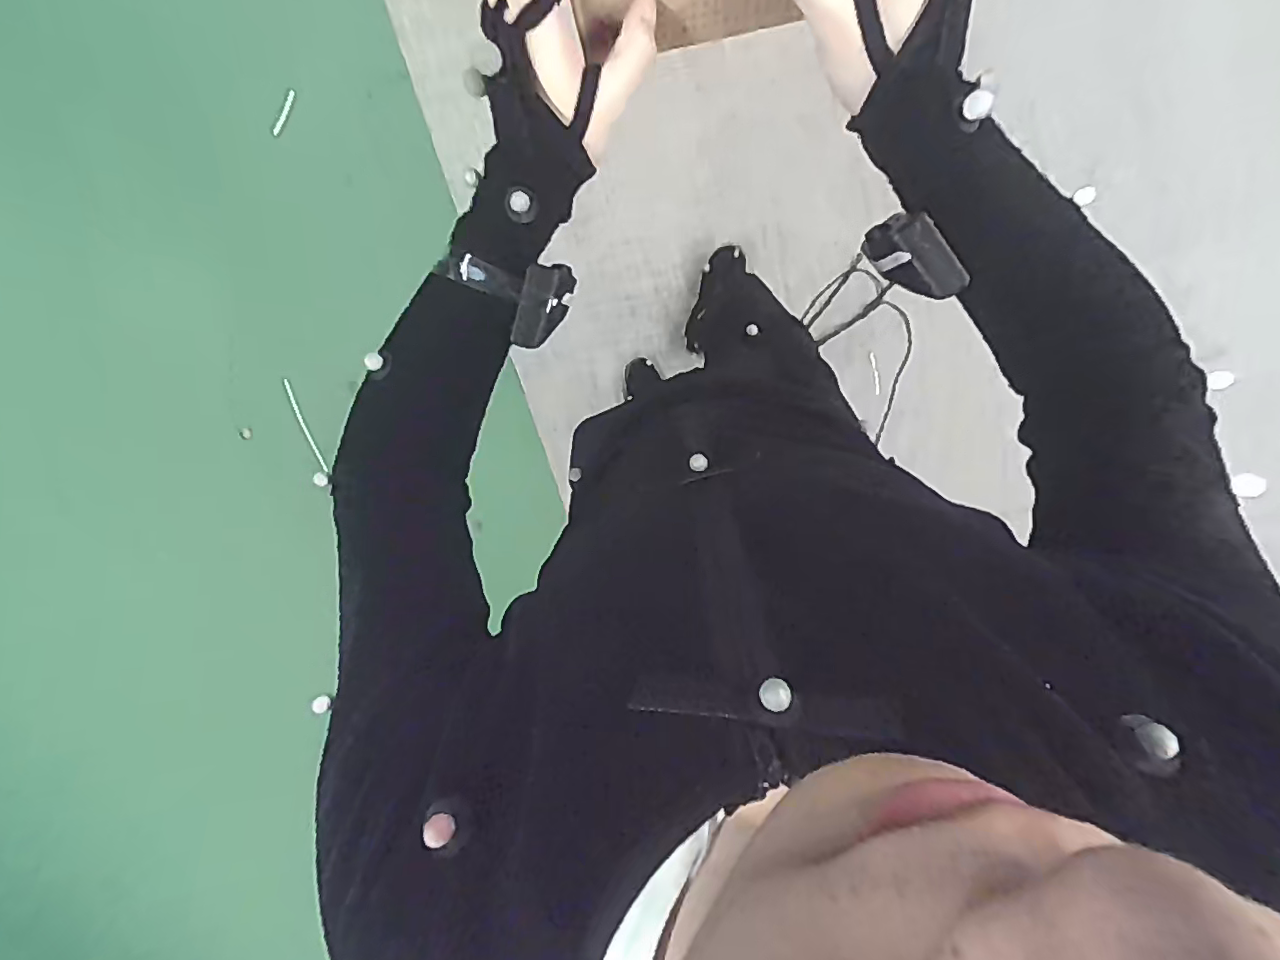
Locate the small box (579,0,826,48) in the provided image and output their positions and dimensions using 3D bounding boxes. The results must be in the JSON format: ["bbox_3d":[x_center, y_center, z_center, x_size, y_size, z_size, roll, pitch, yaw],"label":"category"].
[{"bbox_3d":[0.032,-0.370,0.272,0.179,0.176,0.168,-7,90,8],"label":"small box"}]
